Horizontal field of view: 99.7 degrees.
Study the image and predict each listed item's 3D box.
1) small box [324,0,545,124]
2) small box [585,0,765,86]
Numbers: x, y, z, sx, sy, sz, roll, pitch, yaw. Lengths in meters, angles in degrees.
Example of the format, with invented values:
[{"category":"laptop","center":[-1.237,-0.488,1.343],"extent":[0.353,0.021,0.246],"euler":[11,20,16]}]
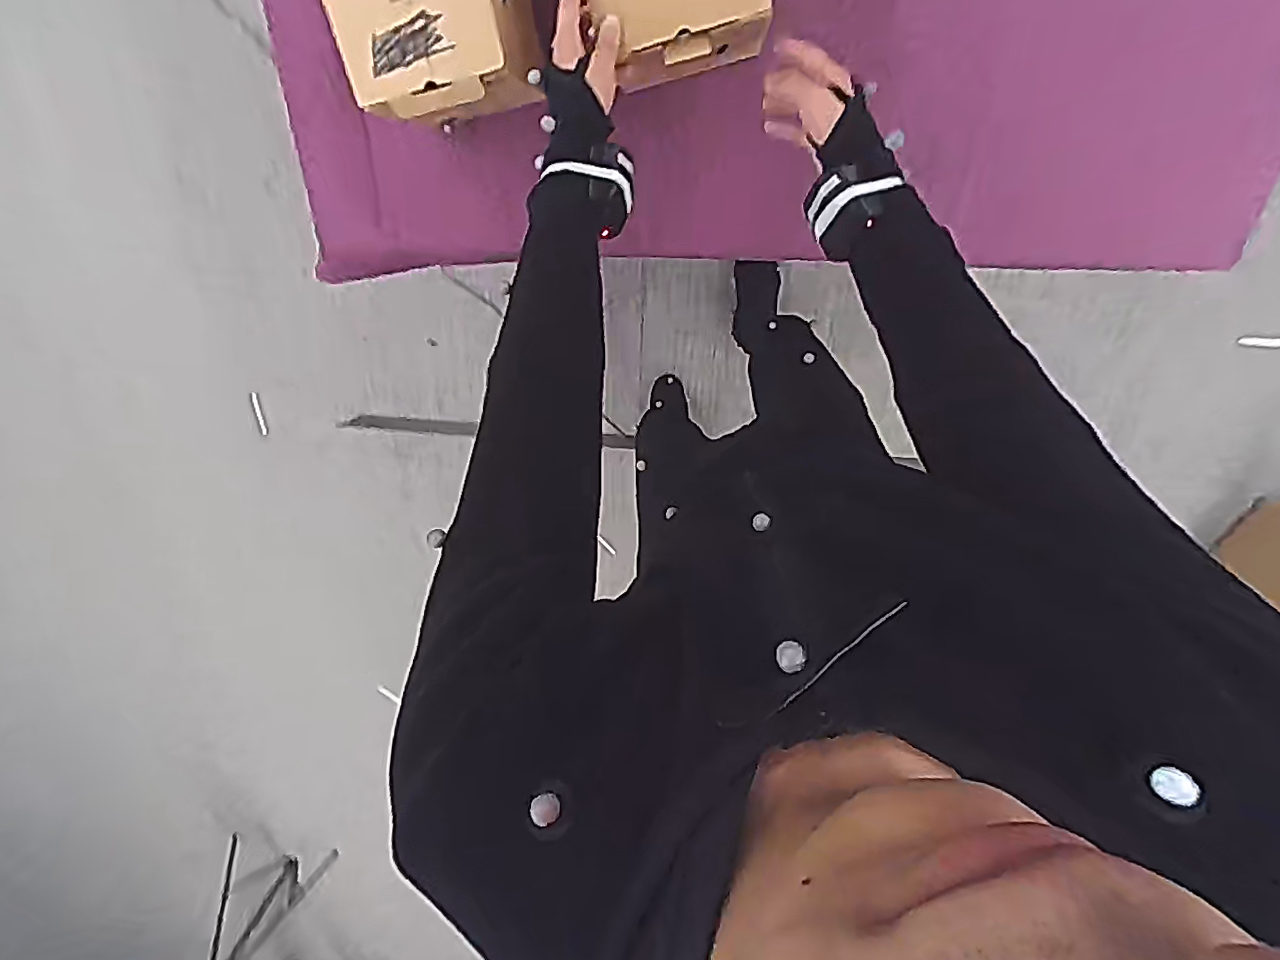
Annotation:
[{"category":"small box","center":[-0.217,-0.506,0.585],"extent":[0.168,0.176,0.179],"euler":[-7,115,10]},{"category":"small box","center":[0.030,-0.526,0.546],"extent":[0.168,0.176,0.179],"euler":[-8,115,11]}]
